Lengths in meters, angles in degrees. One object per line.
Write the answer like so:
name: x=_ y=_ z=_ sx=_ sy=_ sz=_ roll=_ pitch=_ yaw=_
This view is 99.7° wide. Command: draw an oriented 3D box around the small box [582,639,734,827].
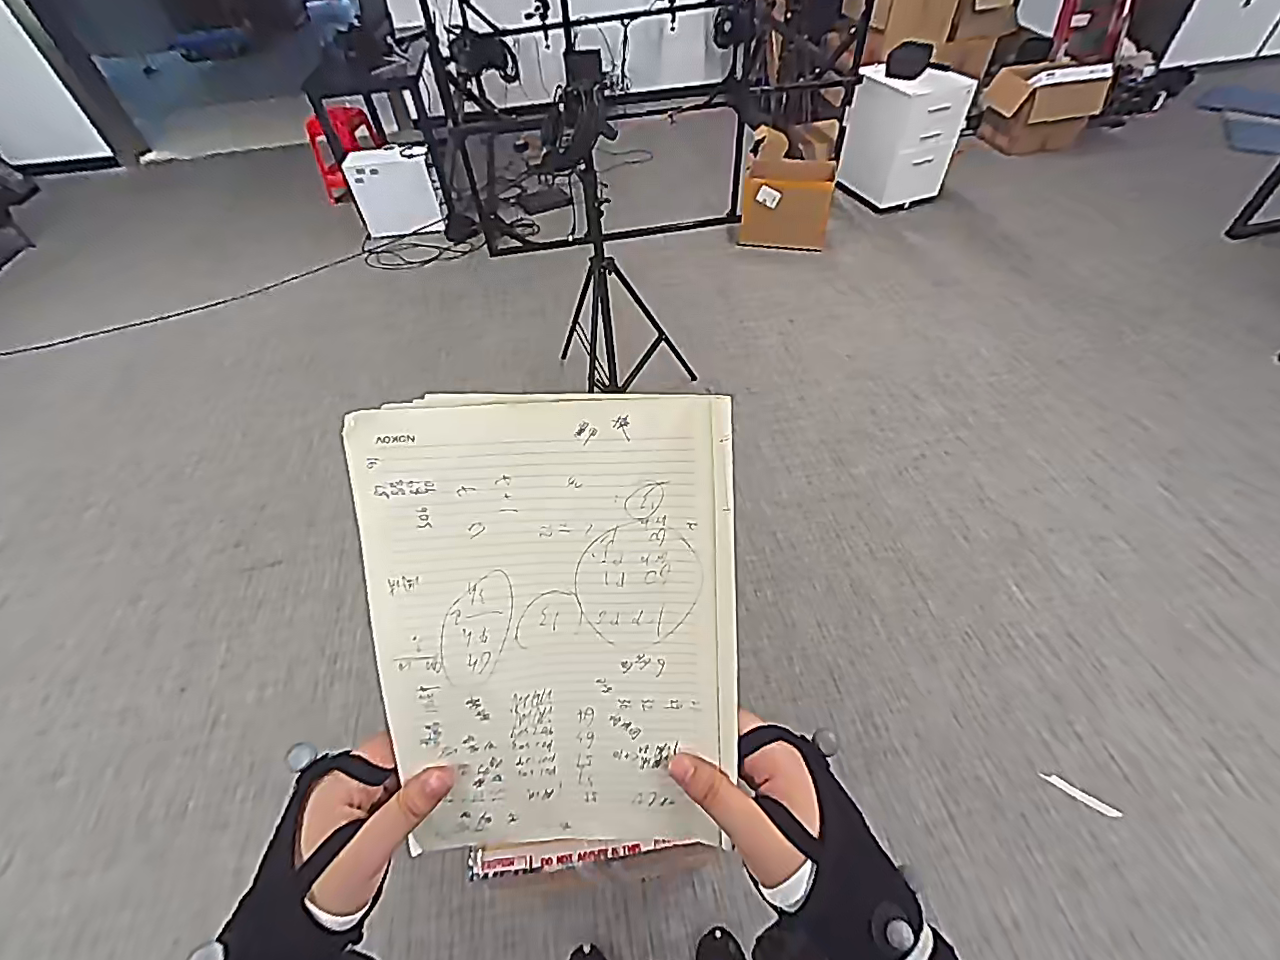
small box: x=0.015 y=0.335 z=0.715 sx=0.168 sy=0.176 sz=0.179 roll=-7 pitch=52 yaw=-5

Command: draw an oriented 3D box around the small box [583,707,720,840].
small box: x=0.013 y=0.440 z=0.842 sx=0.179 sy=0.176 sz=0.168 roll=-10 pitch=51 yaw=-7
